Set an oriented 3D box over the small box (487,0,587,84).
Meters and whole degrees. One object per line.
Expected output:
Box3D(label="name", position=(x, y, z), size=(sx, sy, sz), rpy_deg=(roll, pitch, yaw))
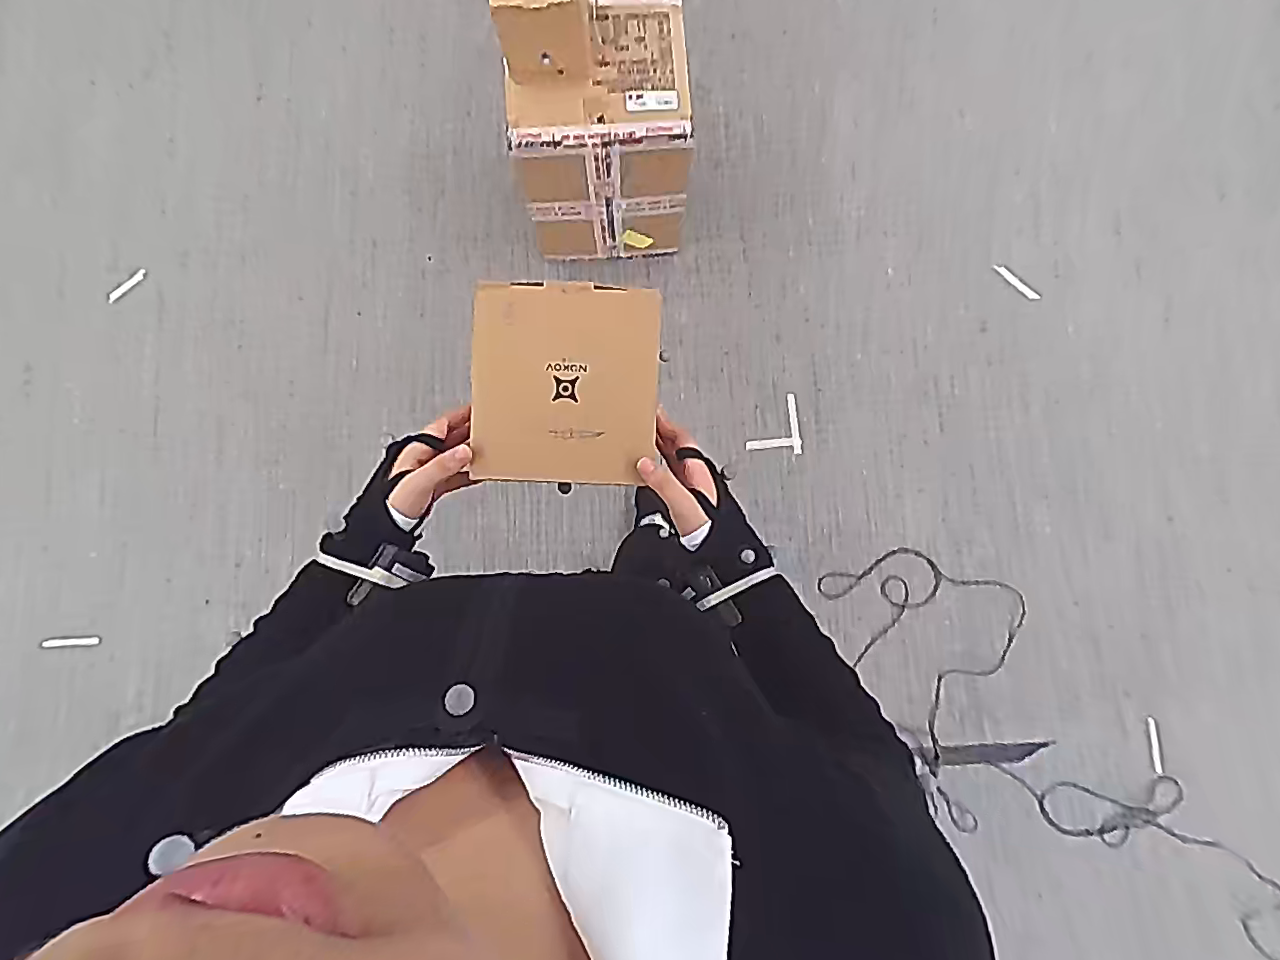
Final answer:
Box3D(label="small box", position=(-0.195, -0.921, 1.055), size=(0.168, 0.176, 0.179), rpy_deg=(-3, 86, 1))
